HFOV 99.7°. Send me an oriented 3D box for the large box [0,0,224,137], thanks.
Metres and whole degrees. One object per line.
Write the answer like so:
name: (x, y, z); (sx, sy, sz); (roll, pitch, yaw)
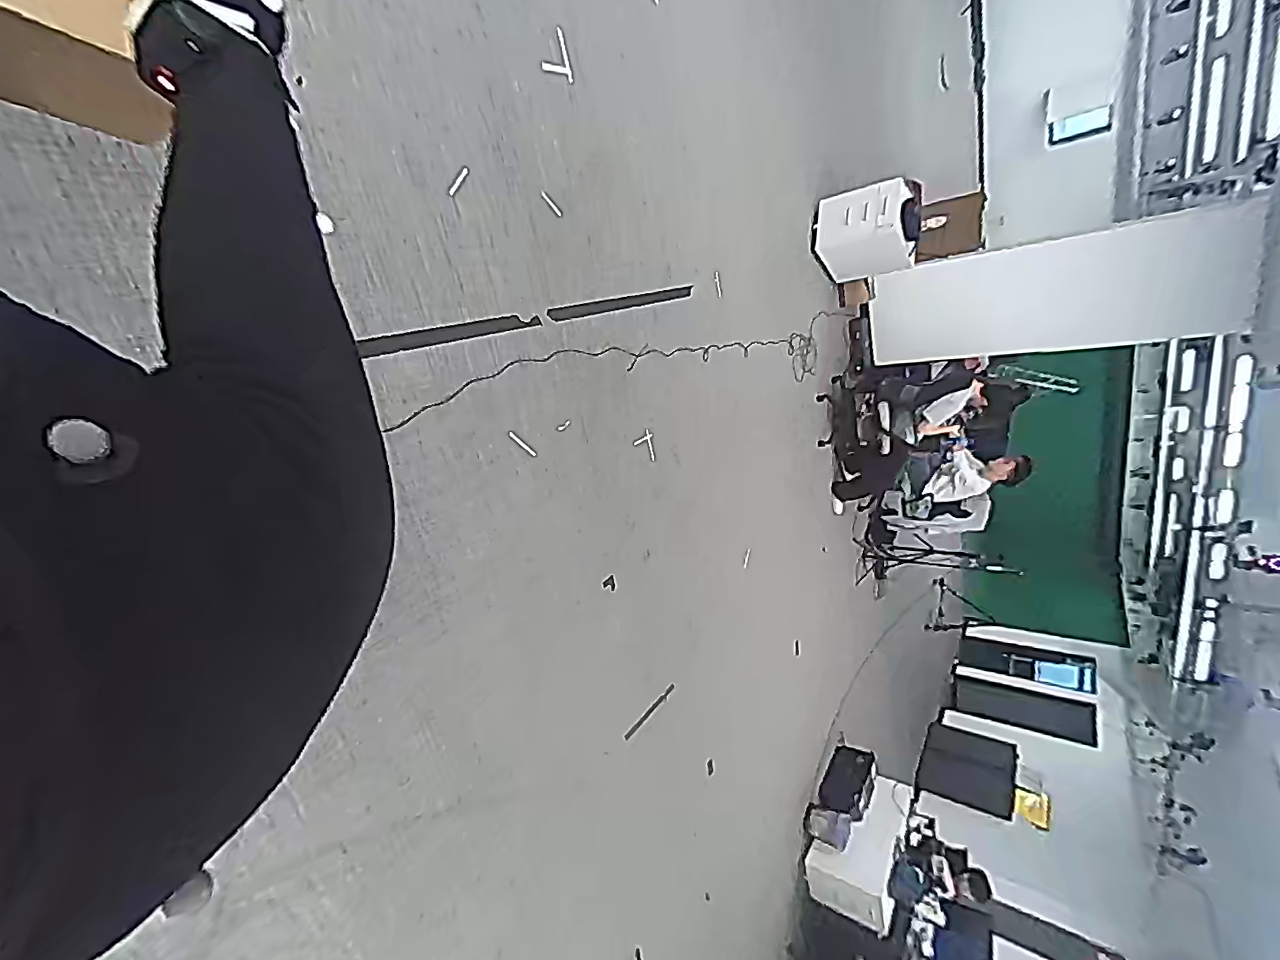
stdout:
large box: (-0.578, -0.510, 0.386); (0.408, 0.320, 0.320); (-2, 105, -49)
